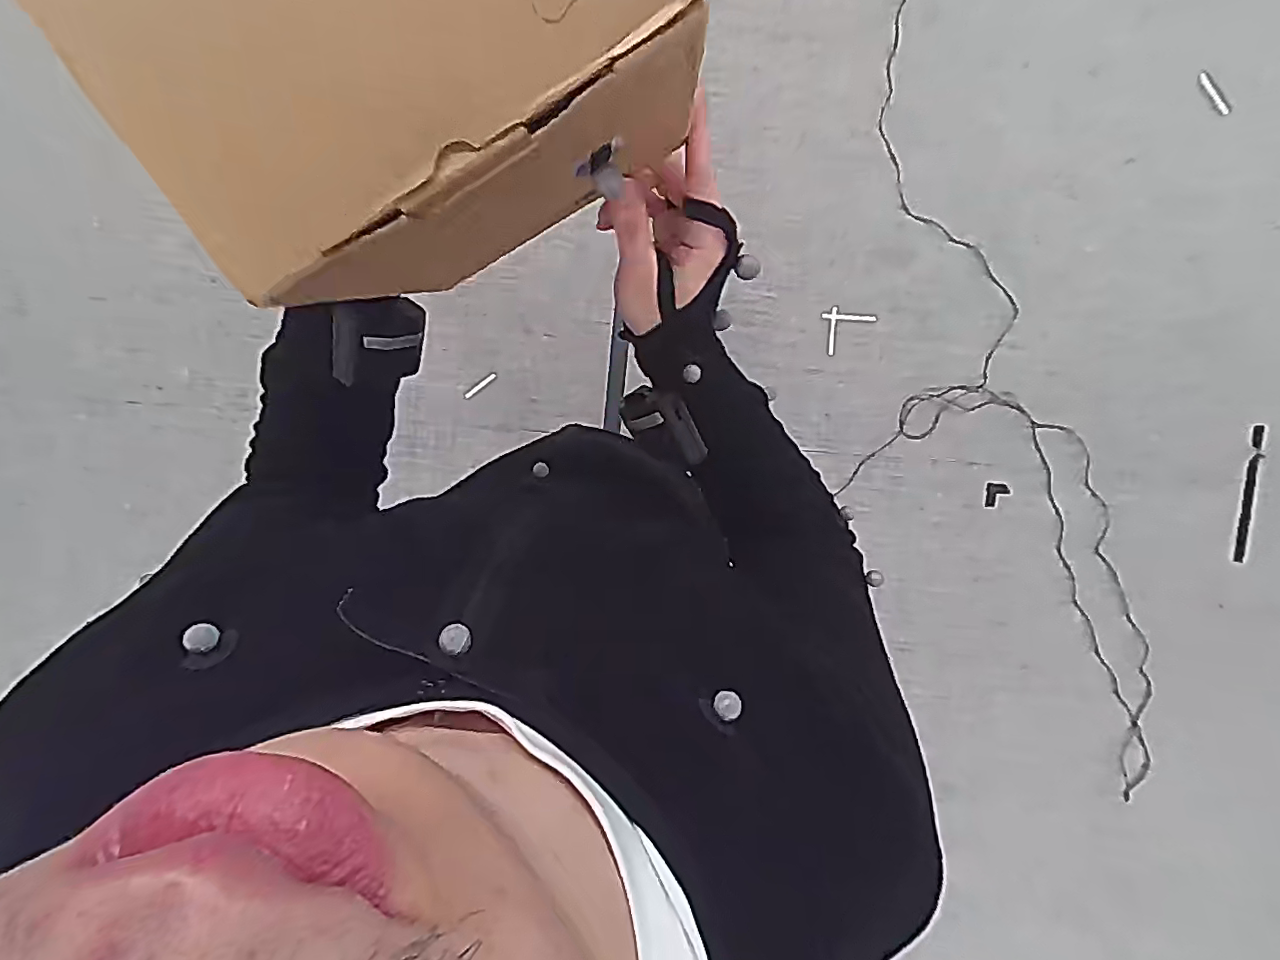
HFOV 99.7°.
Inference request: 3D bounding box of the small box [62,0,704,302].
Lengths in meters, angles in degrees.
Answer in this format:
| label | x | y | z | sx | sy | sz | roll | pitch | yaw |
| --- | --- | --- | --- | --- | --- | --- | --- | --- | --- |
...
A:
| label | x | y | z | sx | sy | sz | roll | pitch | yaw |
| --- | --- | --- | --- | --- | --- | --- | --- | --- | --- |
| small box | -0.088 | -0.195 | 0.219 | 0.168 | 0.176 | 0.179 | -27 | 107 | 11 |
